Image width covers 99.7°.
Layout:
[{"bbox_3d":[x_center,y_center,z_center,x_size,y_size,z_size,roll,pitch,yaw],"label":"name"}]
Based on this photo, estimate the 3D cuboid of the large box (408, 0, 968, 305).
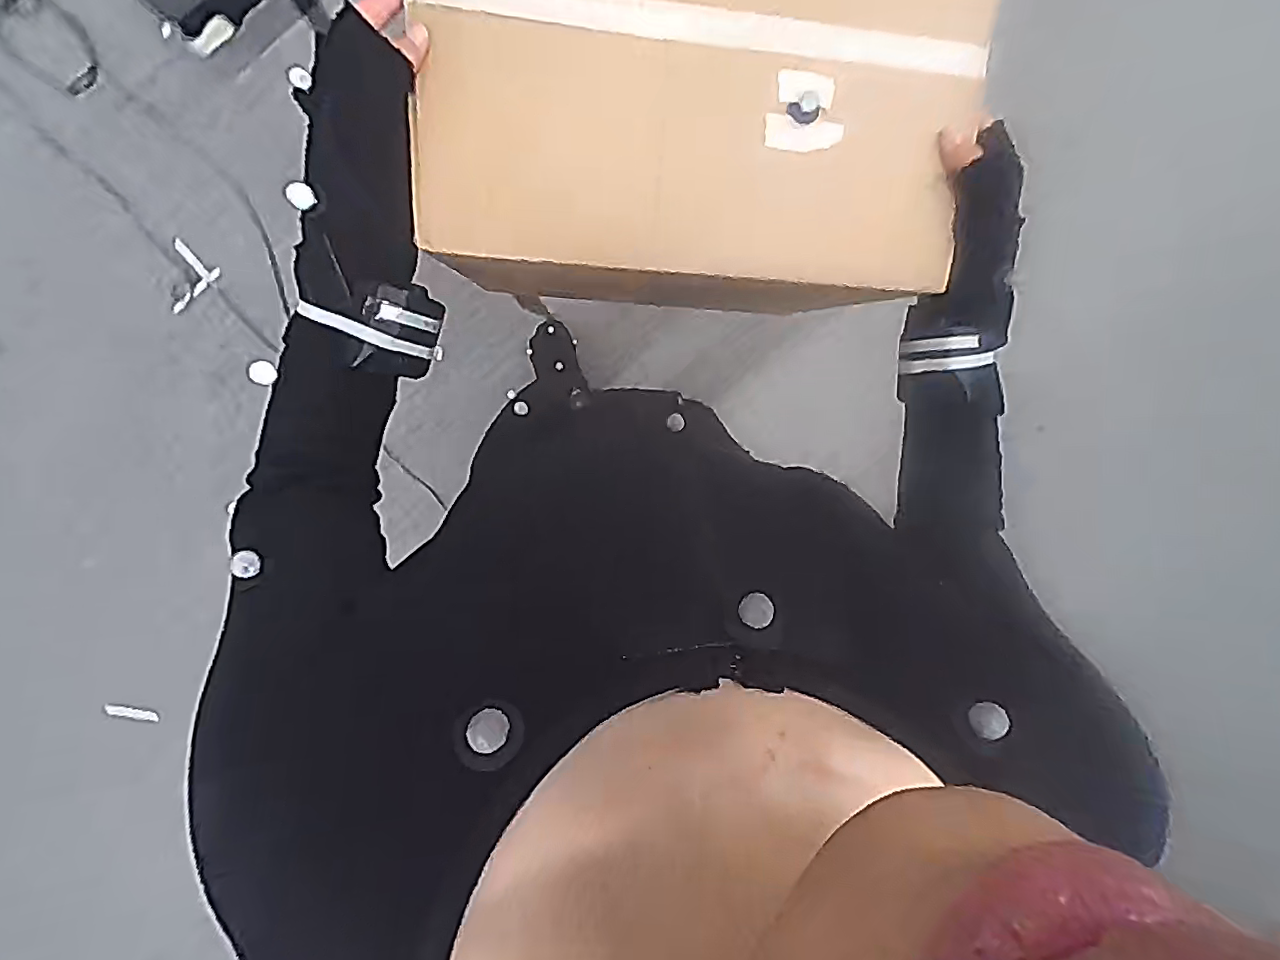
[{"bbox_3d":[0.022,-0.348,0.524,0.408,0.320,0.320,0,103,-8],"label":"large box"}]
